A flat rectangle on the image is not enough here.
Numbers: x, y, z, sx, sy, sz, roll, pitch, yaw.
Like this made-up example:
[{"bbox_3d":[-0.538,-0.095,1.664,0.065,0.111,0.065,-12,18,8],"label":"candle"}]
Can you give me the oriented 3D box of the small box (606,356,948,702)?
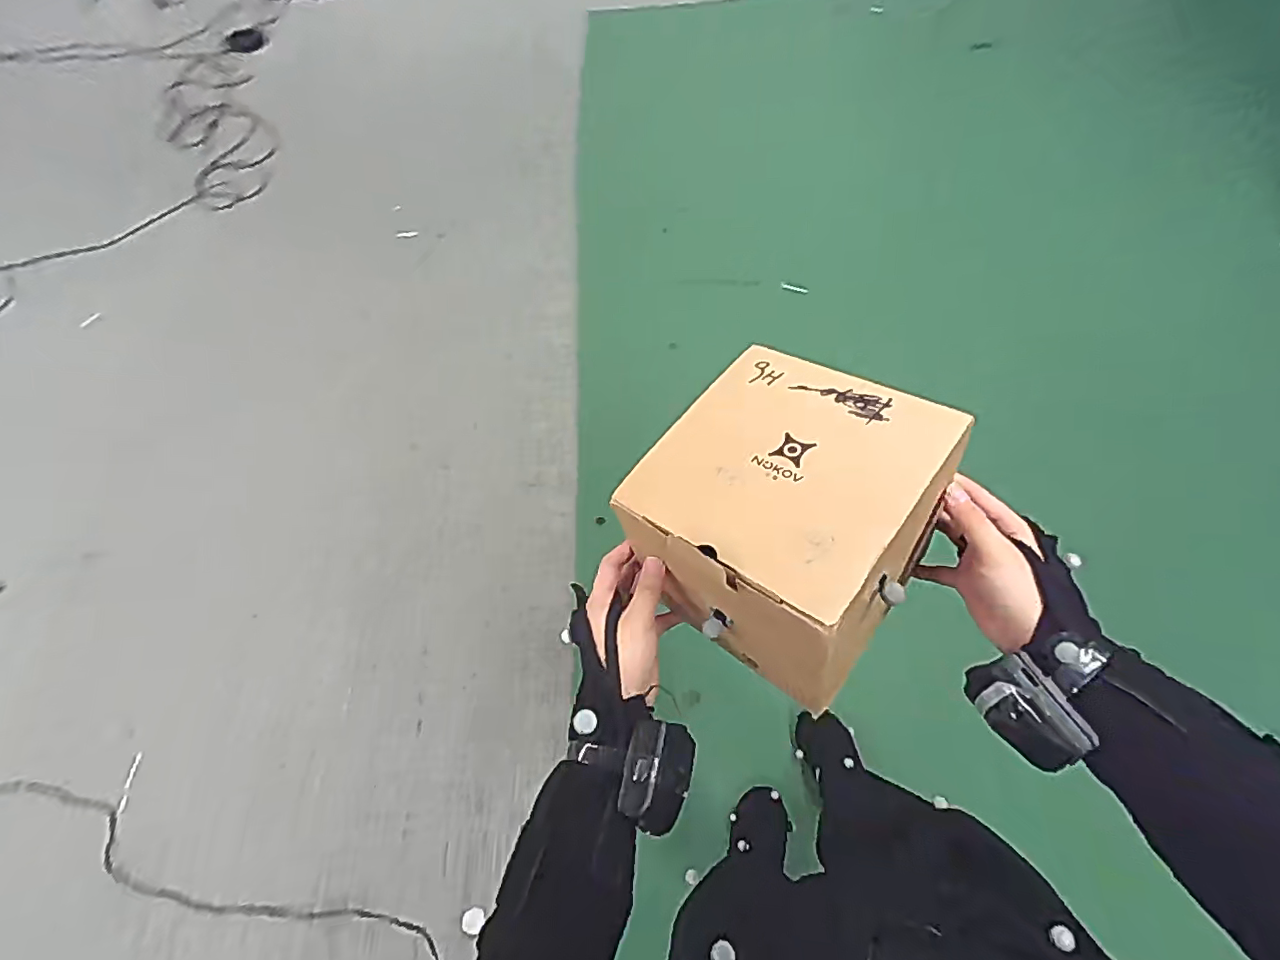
[{"bbox_3d":[0.107,0.040,0.423,0.168,0.176,0.179,29,66,32],"label":"small box"}]
